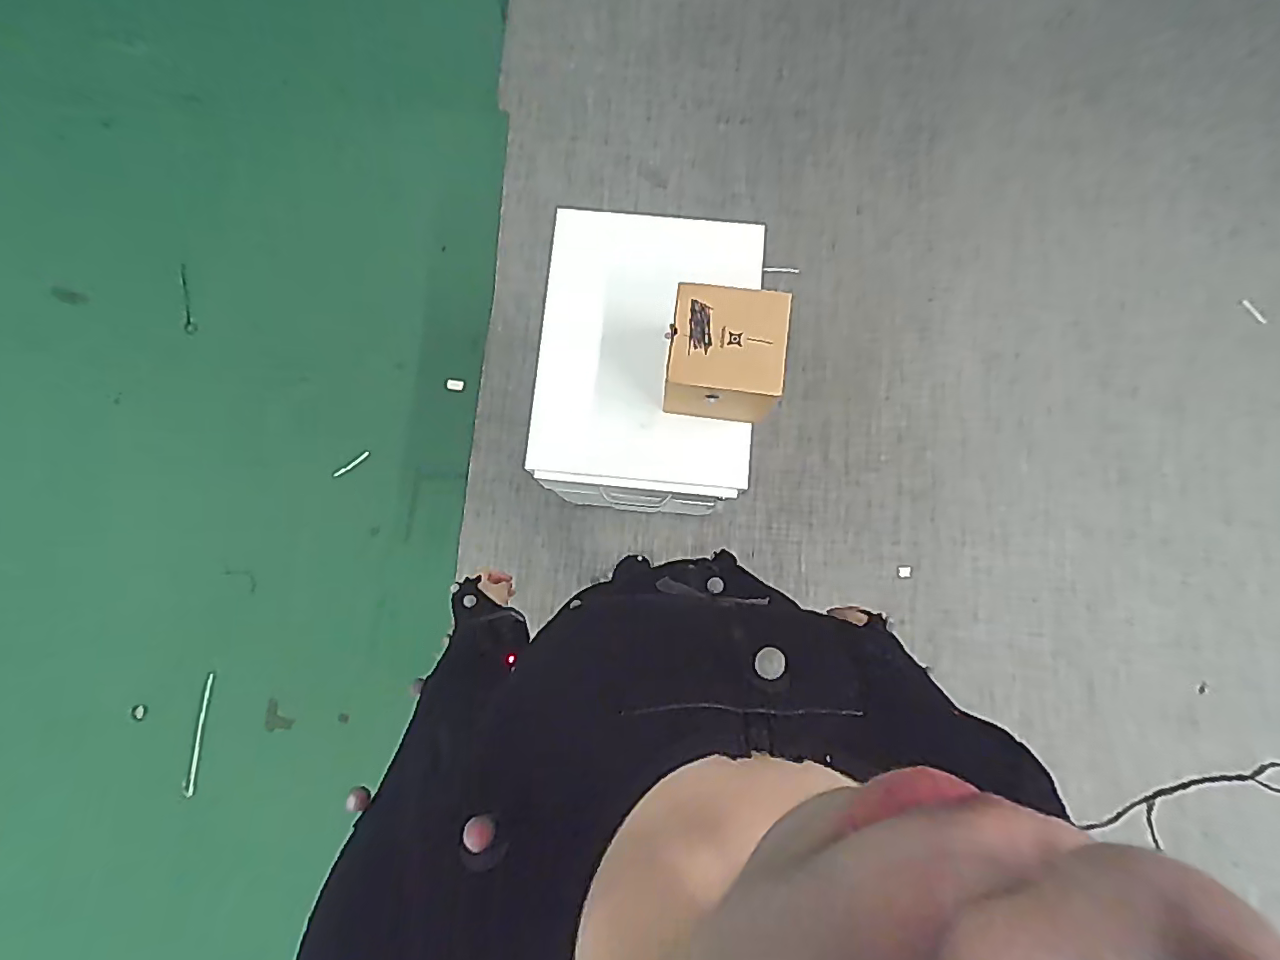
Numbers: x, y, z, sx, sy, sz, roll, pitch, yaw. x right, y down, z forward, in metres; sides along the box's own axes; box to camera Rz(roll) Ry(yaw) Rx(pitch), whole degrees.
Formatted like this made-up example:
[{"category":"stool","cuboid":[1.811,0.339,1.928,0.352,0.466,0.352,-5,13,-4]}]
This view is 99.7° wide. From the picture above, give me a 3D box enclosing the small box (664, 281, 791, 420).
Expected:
[{"category":"small box","cuboid":[0.136,-0.205,0.898,0.179,0.176,0.168,7,82,1]}]
